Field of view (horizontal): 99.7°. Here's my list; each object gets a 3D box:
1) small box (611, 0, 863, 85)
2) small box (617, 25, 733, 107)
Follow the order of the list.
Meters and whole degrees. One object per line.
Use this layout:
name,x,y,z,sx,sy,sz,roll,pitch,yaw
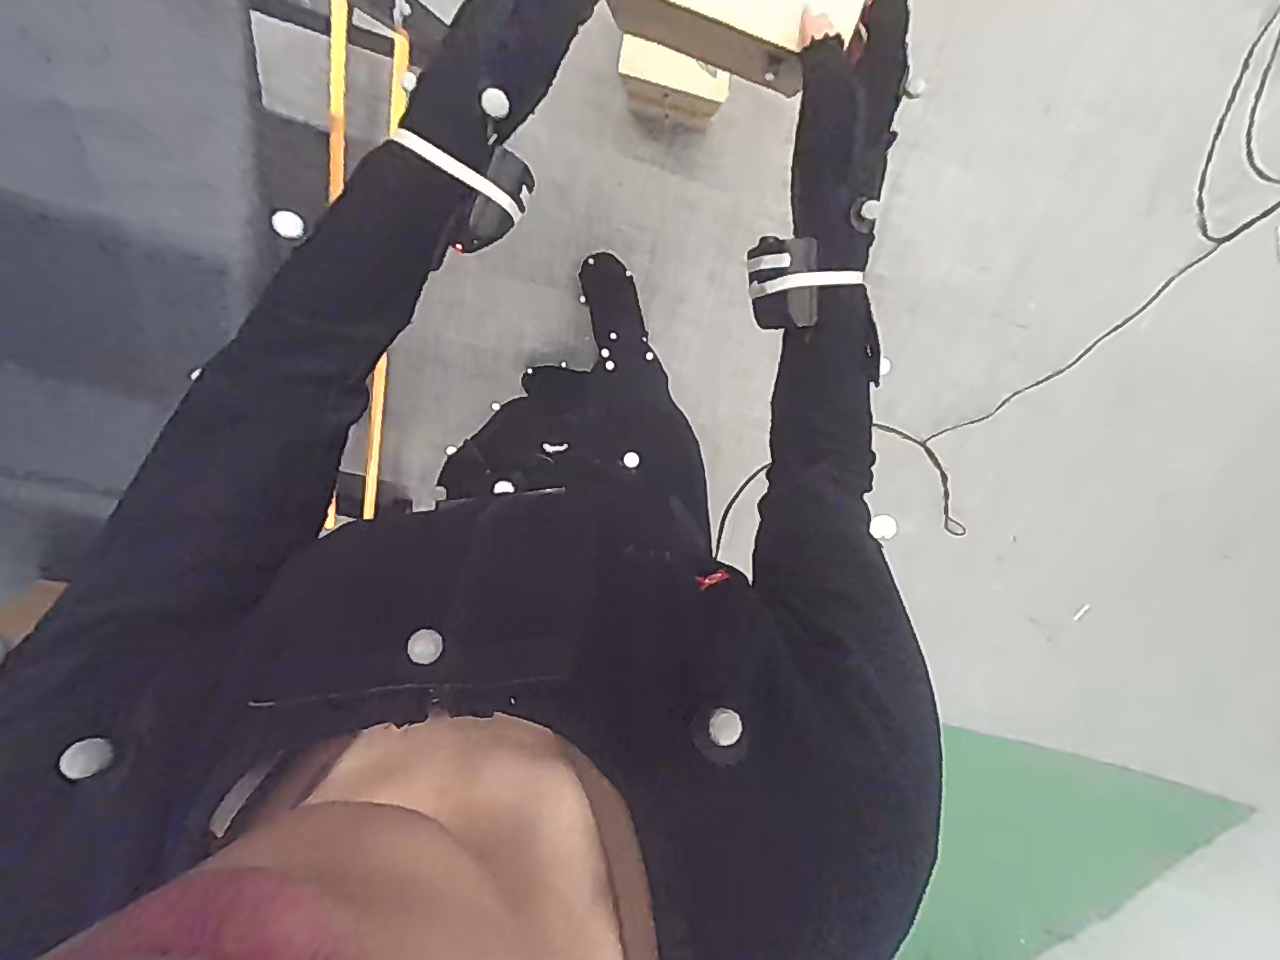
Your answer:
small box,0.076,-0.401,0.375,0.179,0.176,0.168,17,122,-7
small box,0.070,-0.720,0.867,0.179,0.176,0.168,13,118,-4
